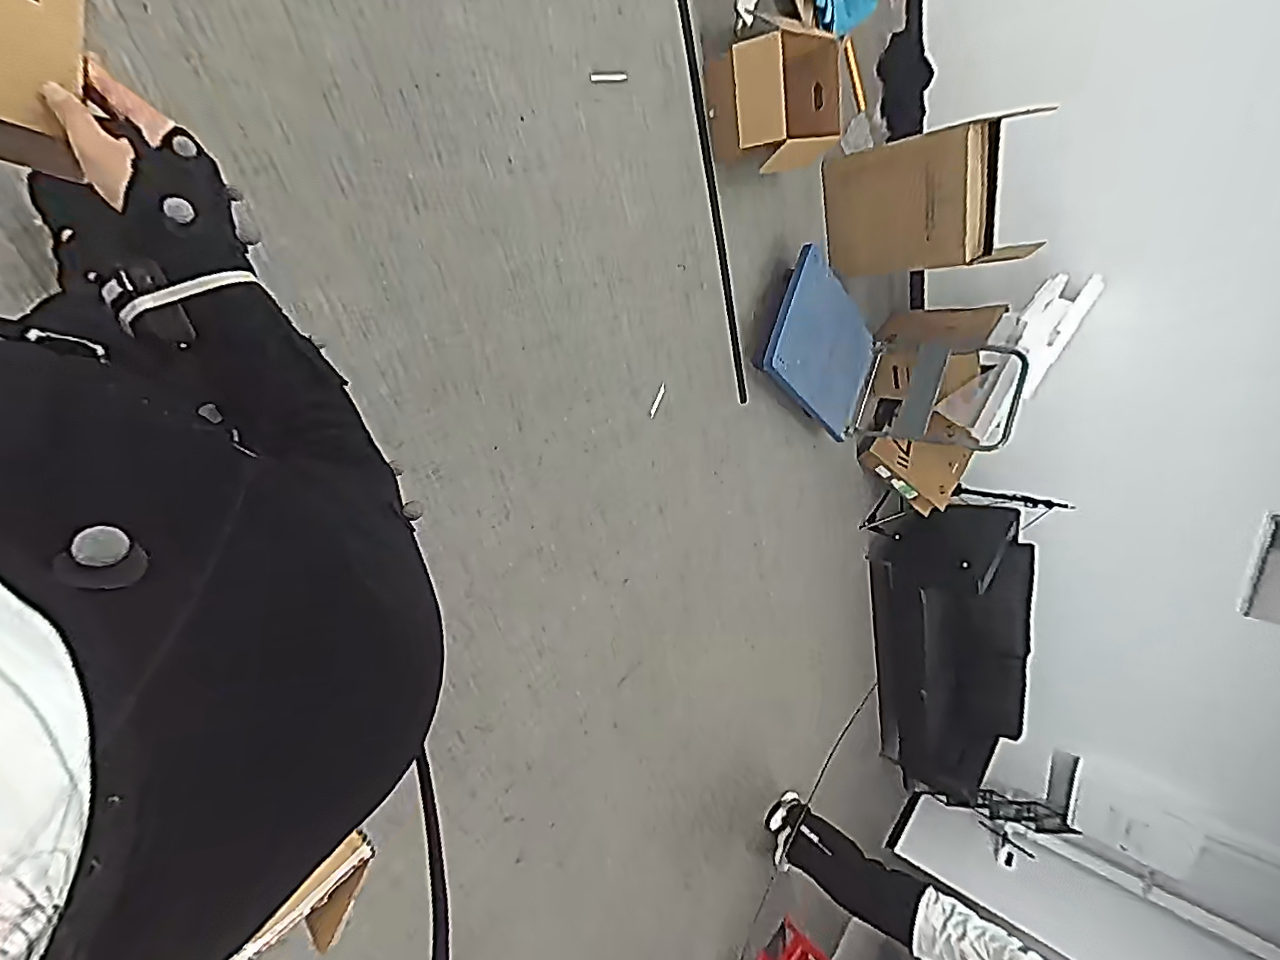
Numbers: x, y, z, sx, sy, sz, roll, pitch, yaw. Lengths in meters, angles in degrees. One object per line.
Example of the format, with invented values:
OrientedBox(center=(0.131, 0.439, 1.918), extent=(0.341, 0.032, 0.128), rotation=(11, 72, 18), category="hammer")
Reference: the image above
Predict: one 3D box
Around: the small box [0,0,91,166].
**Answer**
OrientedBox(center=(-0.486, -0.332, 0.352), extent=(0.179, 0.176, 0.168), rotation=(1, 103, -46), category="small box")
